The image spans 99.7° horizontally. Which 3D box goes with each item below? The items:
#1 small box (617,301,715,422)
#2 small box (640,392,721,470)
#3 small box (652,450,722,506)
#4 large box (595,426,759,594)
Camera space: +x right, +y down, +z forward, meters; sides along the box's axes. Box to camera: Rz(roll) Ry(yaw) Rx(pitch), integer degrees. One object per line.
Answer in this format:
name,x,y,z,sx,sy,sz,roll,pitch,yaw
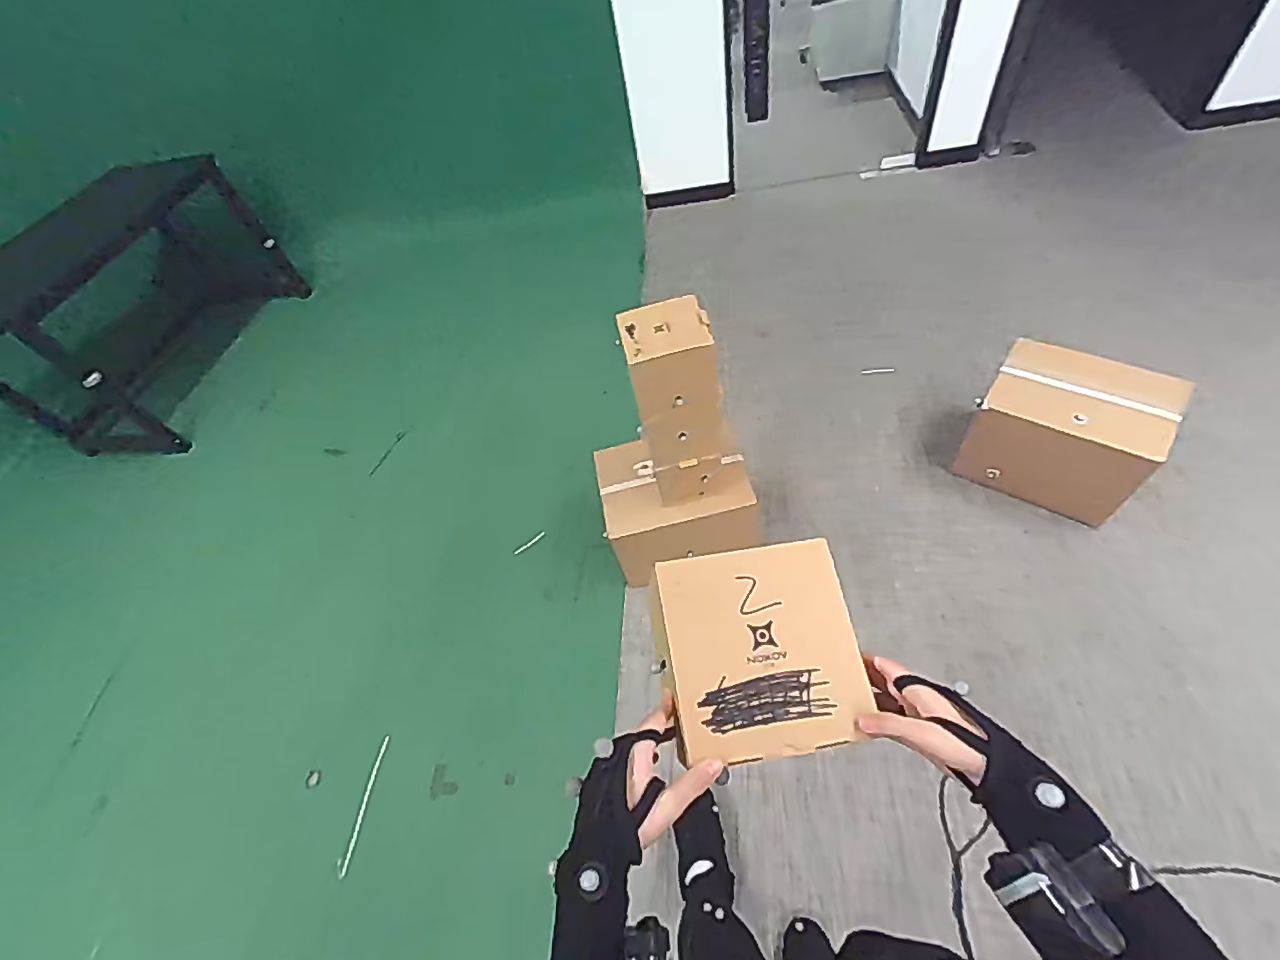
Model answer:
small box,0.058,-0.249,1.157,0.179,0.176,0.168,-13,52,1
small box,0.089,-0.150,1.284,0.179,0.176,0.168,-15,52,1
small box,0.114,-0.049,1.411,0.168,0.176,0.179,-13,52,2
large box,0.113,0.097,1.612,0.408,0.320,0.320,-15,50,2
